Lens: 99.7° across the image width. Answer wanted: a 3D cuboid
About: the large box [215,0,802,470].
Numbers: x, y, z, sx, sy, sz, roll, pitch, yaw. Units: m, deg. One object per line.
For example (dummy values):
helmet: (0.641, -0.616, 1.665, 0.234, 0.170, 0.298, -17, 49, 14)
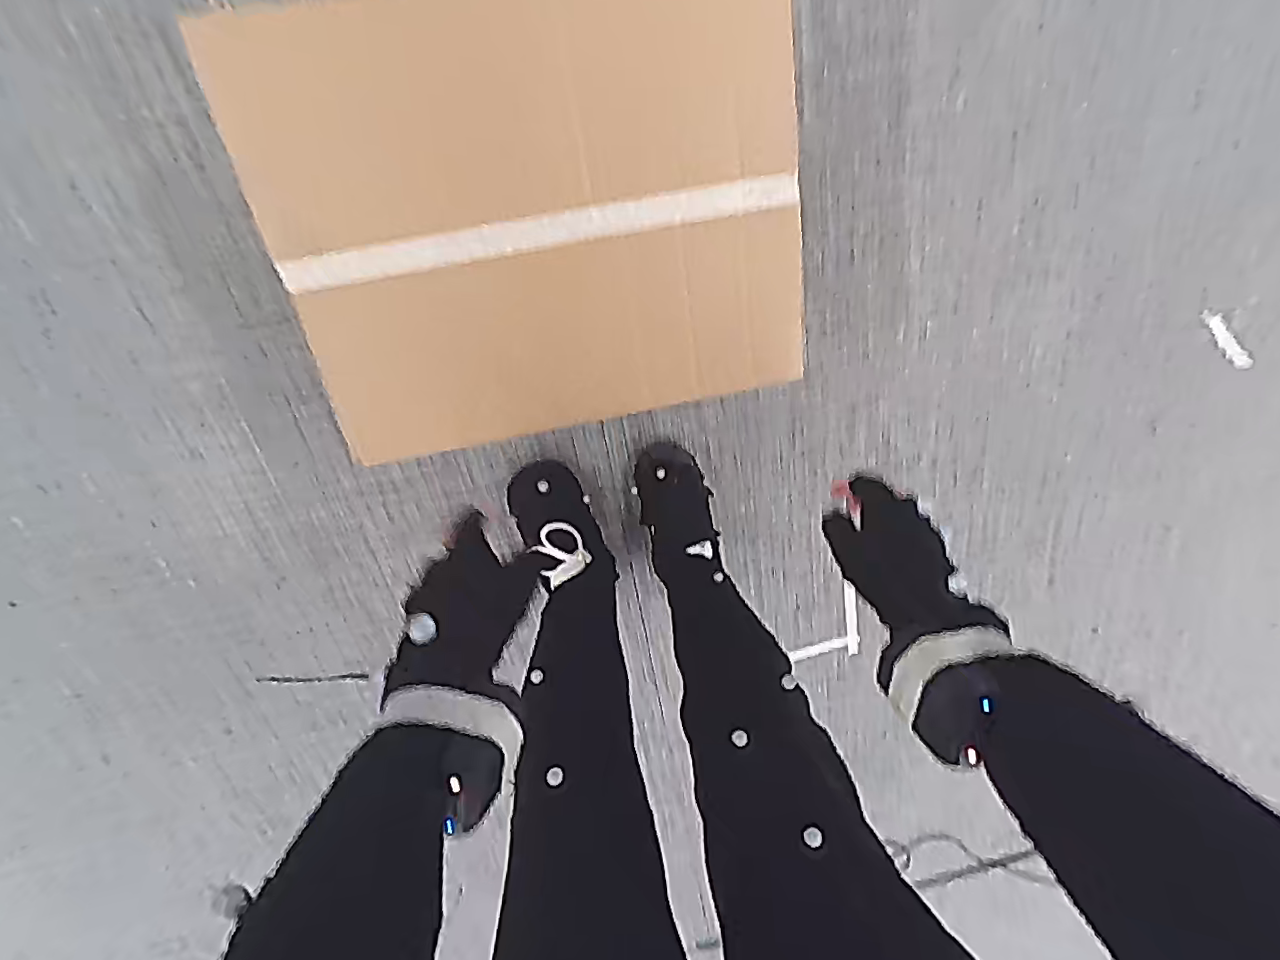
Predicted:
large box: (-0.091, -0.243, 0.566, 0.408, 0.320, 0.320, -12, 115, -5)
